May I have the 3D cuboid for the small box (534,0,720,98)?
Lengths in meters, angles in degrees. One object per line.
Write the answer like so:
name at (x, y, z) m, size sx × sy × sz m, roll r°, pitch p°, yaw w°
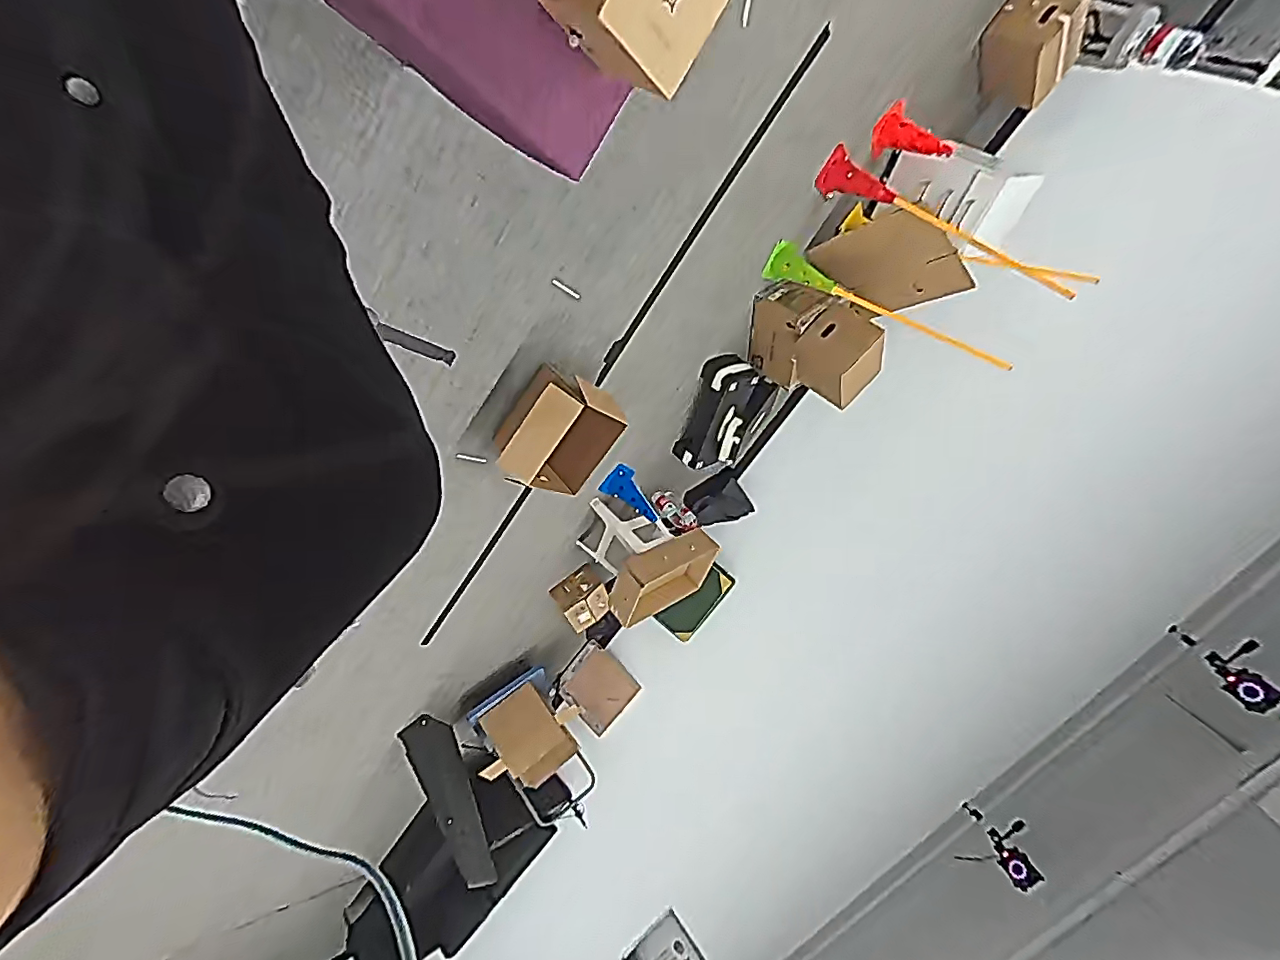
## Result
small box at (-0.015, -0.678, 0.735) m, size 0.168 × 0.176 × 0.179 m, roll 6°, pitch 122°, yaw -55°
